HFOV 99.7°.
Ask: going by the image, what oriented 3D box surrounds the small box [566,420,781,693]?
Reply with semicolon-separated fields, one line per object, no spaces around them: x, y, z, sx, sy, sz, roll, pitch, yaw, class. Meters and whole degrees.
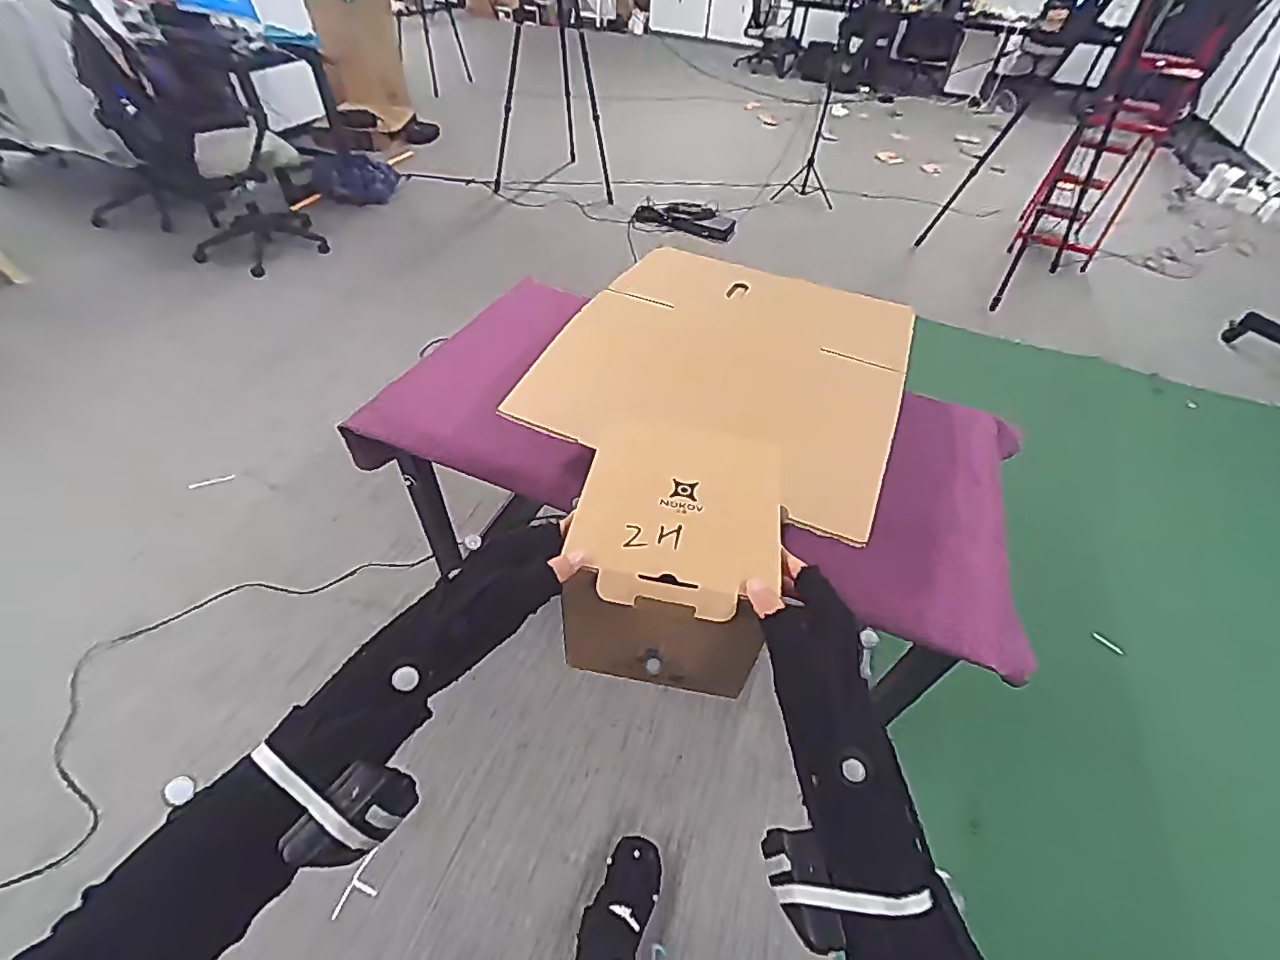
0.032;0.072;0.514;0.168;0.176;0.179;9;46;5;small box
